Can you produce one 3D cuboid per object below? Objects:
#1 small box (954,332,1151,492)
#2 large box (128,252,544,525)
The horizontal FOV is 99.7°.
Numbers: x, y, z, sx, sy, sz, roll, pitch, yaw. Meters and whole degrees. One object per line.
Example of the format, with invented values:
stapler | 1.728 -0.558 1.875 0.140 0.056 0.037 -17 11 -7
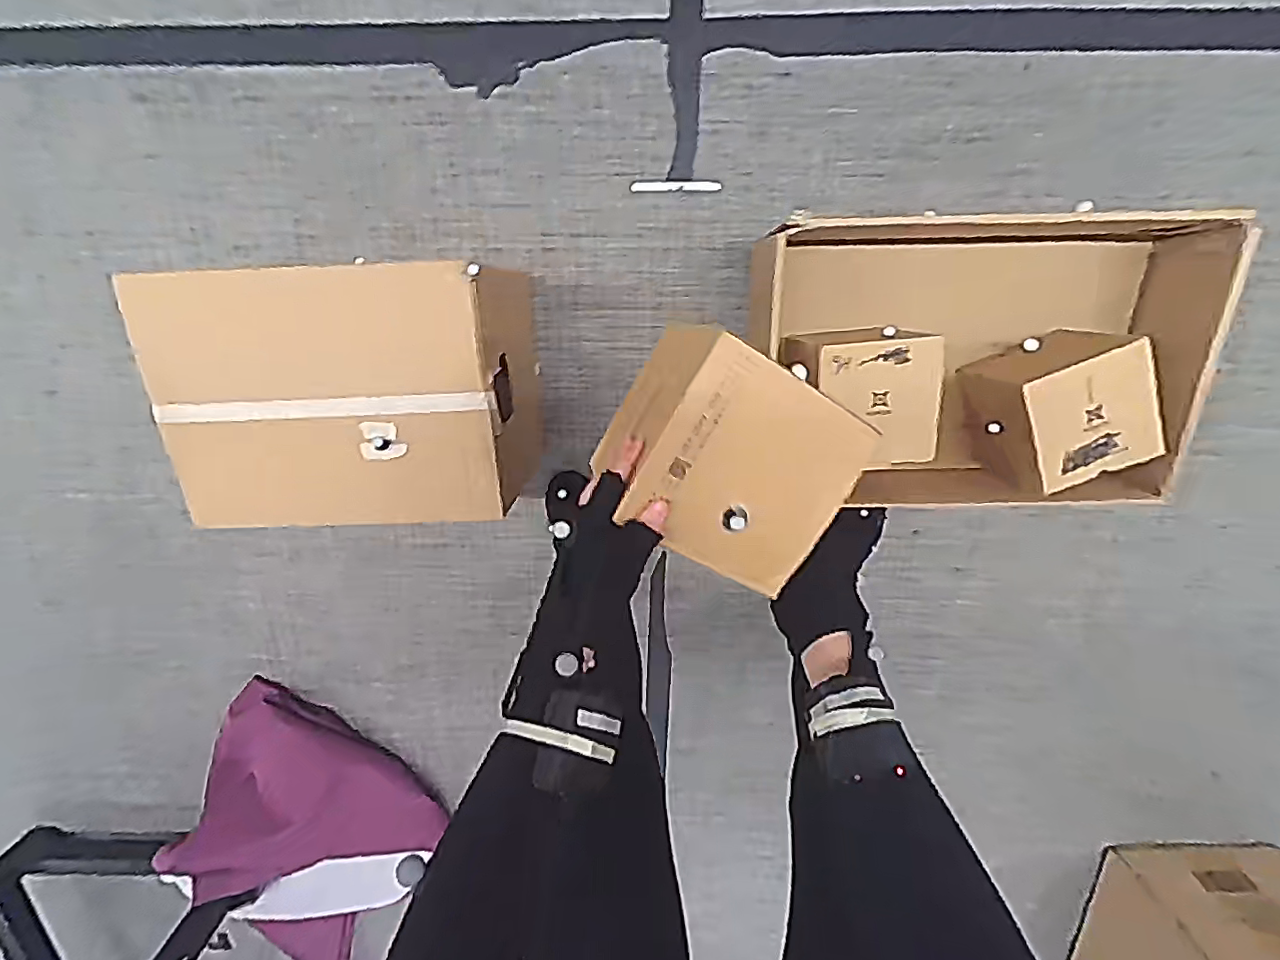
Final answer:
small box | 0.616 -0.111 0.825 0.168 0.176 0.179 -21 107 8
large box | -0.377 -0.144 0.793 0.408 0.320 0.320 -3 109 0
